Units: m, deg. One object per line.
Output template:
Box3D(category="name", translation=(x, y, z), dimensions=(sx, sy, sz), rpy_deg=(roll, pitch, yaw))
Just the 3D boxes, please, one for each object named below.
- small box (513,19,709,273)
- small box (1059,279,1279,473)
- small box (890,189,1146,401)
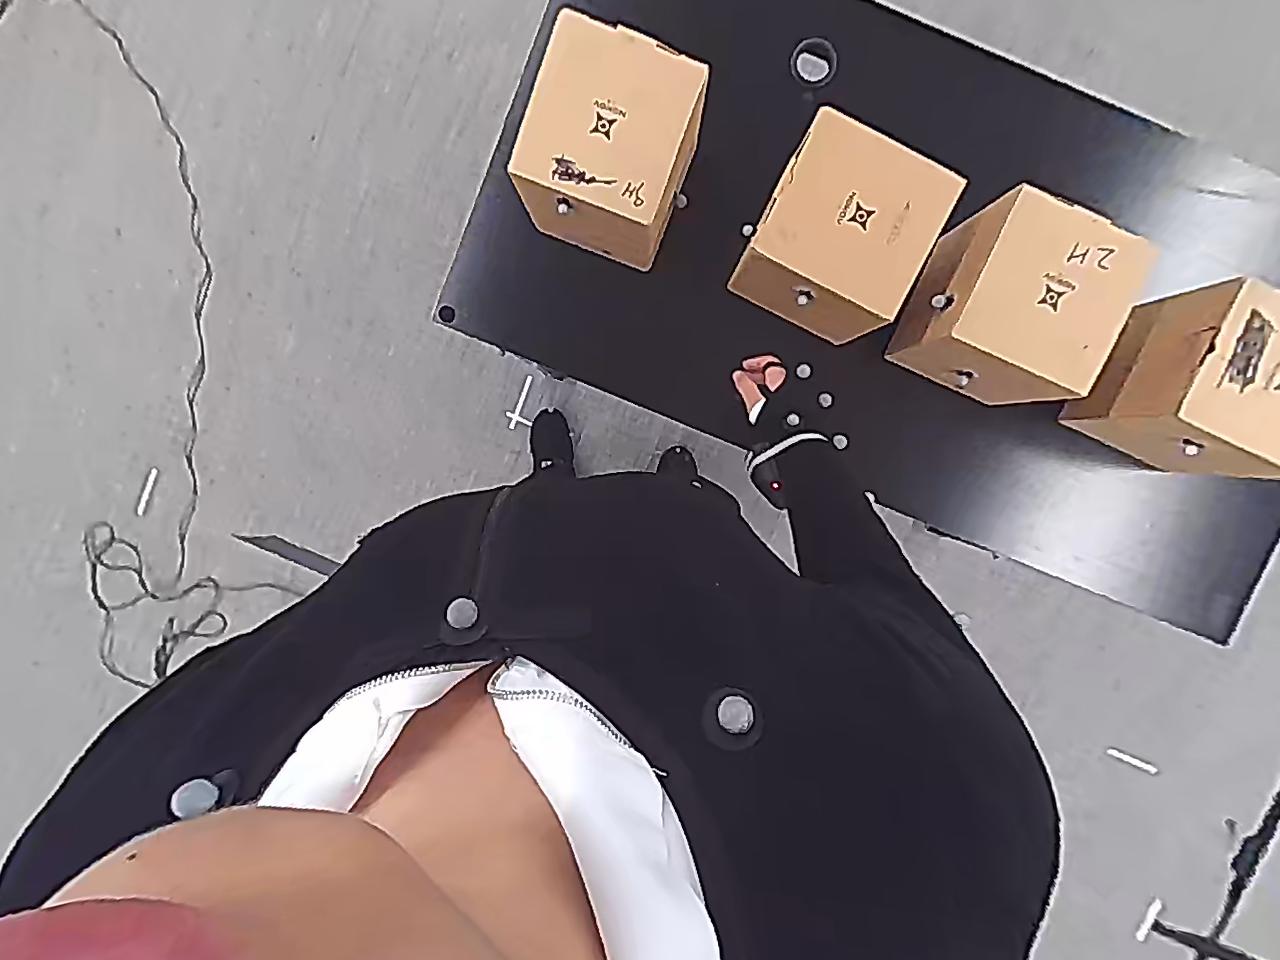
Box3D(category="small box", translation=(-0.032, -0.385, 0.659), dimensions=(0.168, 0.176, 0.179), rpy_deg=(22, 94, 0))
Box3D(category="small box", translation=(0.686, -0.117, 0.674), dimensions=(0.179, 0.176, 0.168), rpy_deg=(24, 94, -2))
Box3D(category="small box", translation=(0.441, -0.209, 0.669), dimensions=(0.168, 0.176, 0.179), rpy_deg=(24, 94, -2))
